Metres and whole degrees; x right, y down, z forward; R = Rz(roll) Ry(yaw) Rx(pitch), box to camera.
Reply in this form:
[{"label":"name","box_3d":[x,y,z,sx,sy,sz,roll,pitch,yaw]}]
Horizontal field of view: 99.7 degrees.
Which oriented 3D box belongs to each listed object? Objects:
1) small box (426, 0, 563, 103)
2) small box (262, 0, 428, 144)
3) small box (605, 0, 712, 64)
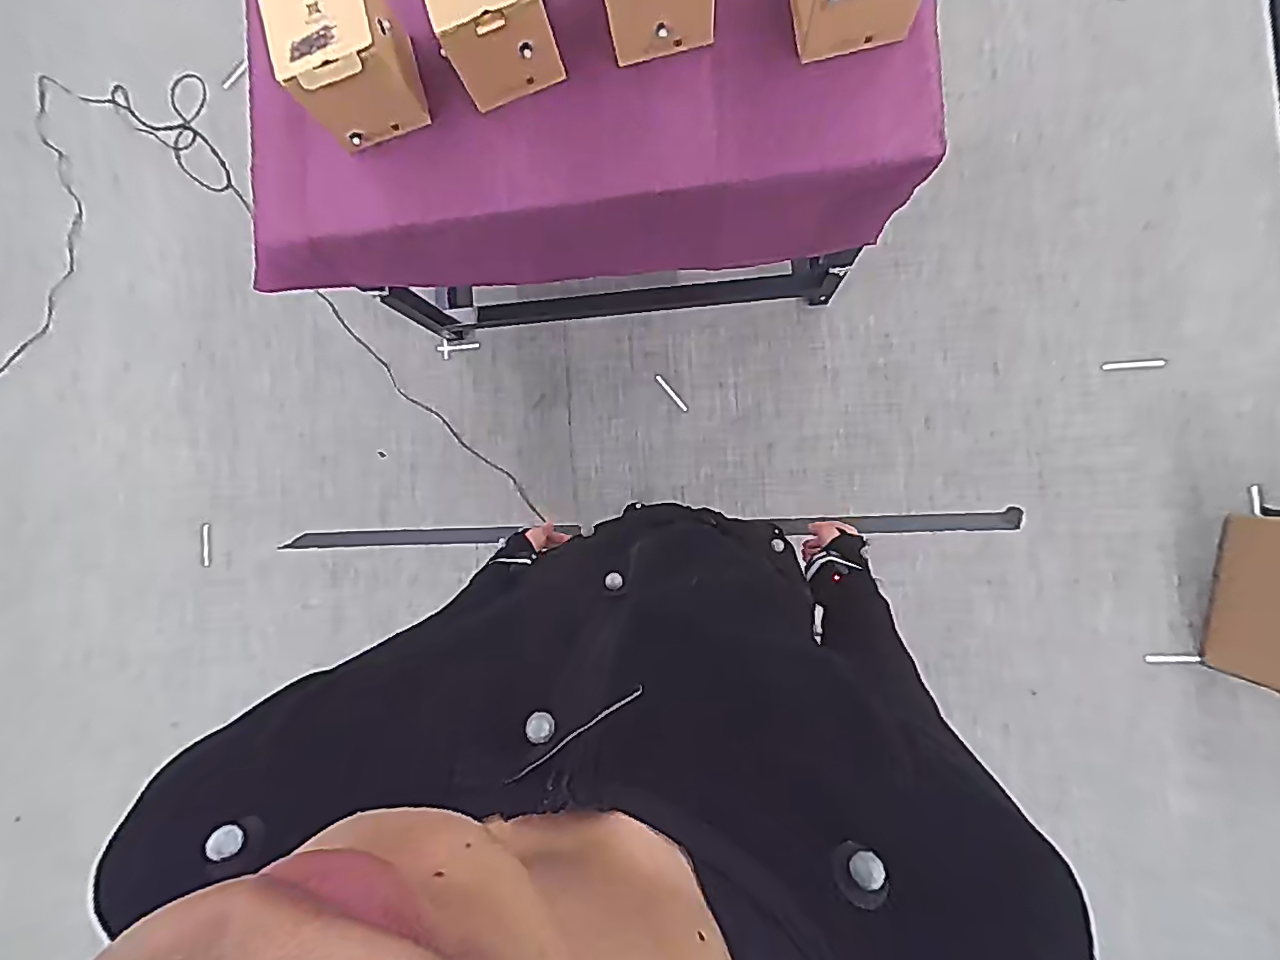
[{"label":"small box","box_3d":[-0.238,-0.759,0.879,0.168,0.176,0.179,-17,86,6]},{"label":"small box","box_3d":[-0.482,-0.703,0.905,0.168,0.176,0.179,-15,86,6]},{"label":"small box","box_3d":[0.020,-0.811,0.846,0.168,0.176,0.179,-9,87,7]}]
